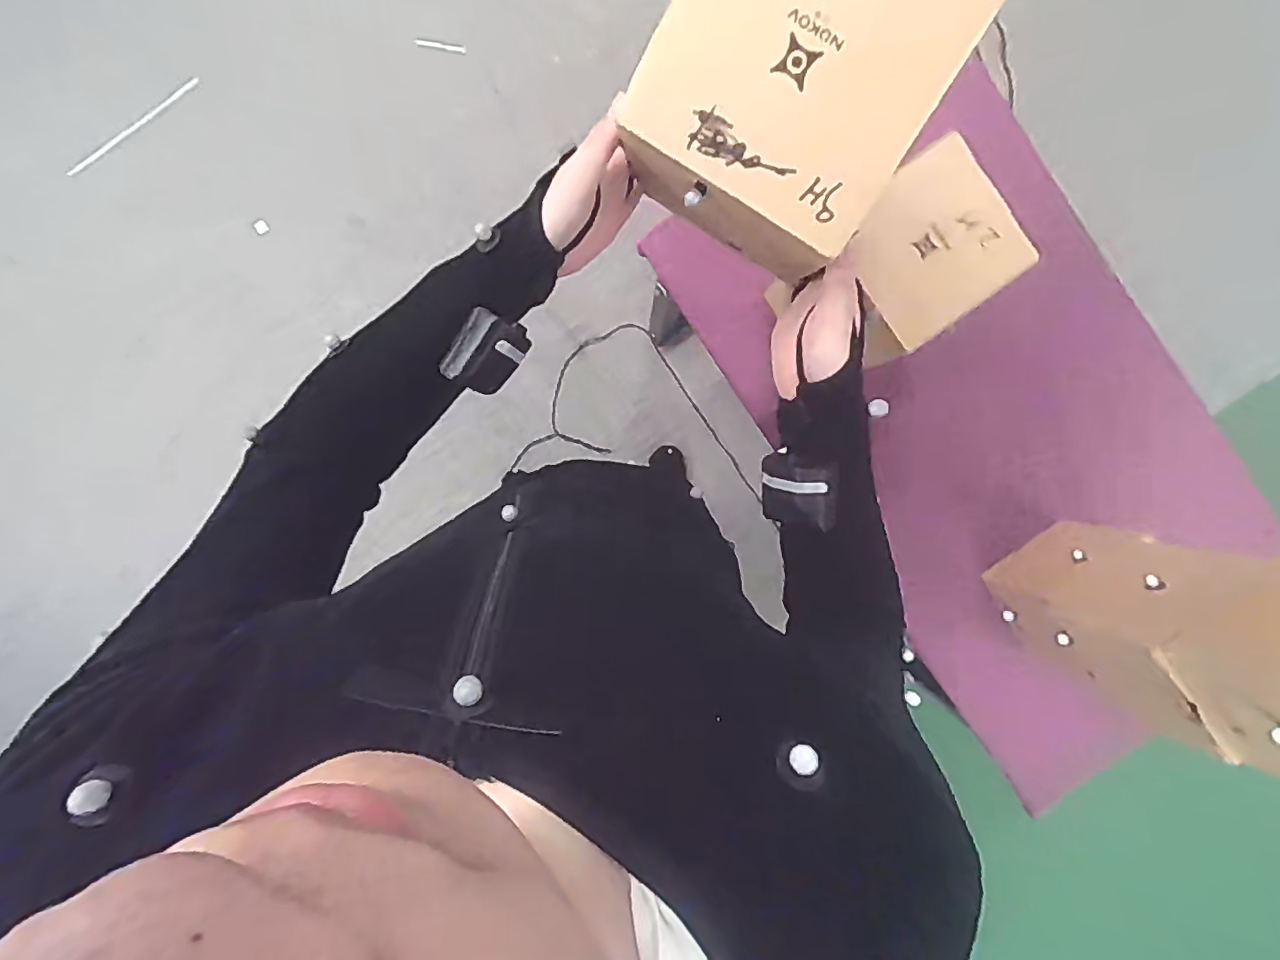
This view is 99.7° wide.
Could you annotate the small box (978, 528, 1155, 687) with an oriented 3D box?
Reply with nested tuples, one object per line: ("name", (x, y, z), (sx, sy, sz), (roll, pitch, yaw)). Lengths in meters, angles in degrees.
("small box", (0.692, 0.192, 0.854), (0.179, 0.176, 0.168), (-33, 92, 1))

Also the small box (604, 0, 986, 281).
("small box", (0.093, -0.270, 0.396), (0.168, 0.176, 0.179), (31, 105, -3))

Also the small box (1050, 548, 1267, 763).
("small box", (0.678, 0.208, 0.691), (0.179, 0.176, 0.168), (-35, 92, -1))

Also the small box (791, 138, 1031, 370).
("small box", (0.305, -0.253, 0.658), (0.179, 0.176, 0.168), (-36, 94, 2))

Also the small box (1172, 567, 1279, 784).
("small box", (0.690, 0.209, 0.529), (0.179, 0.176, 0.168), (-37, 92, -1))
